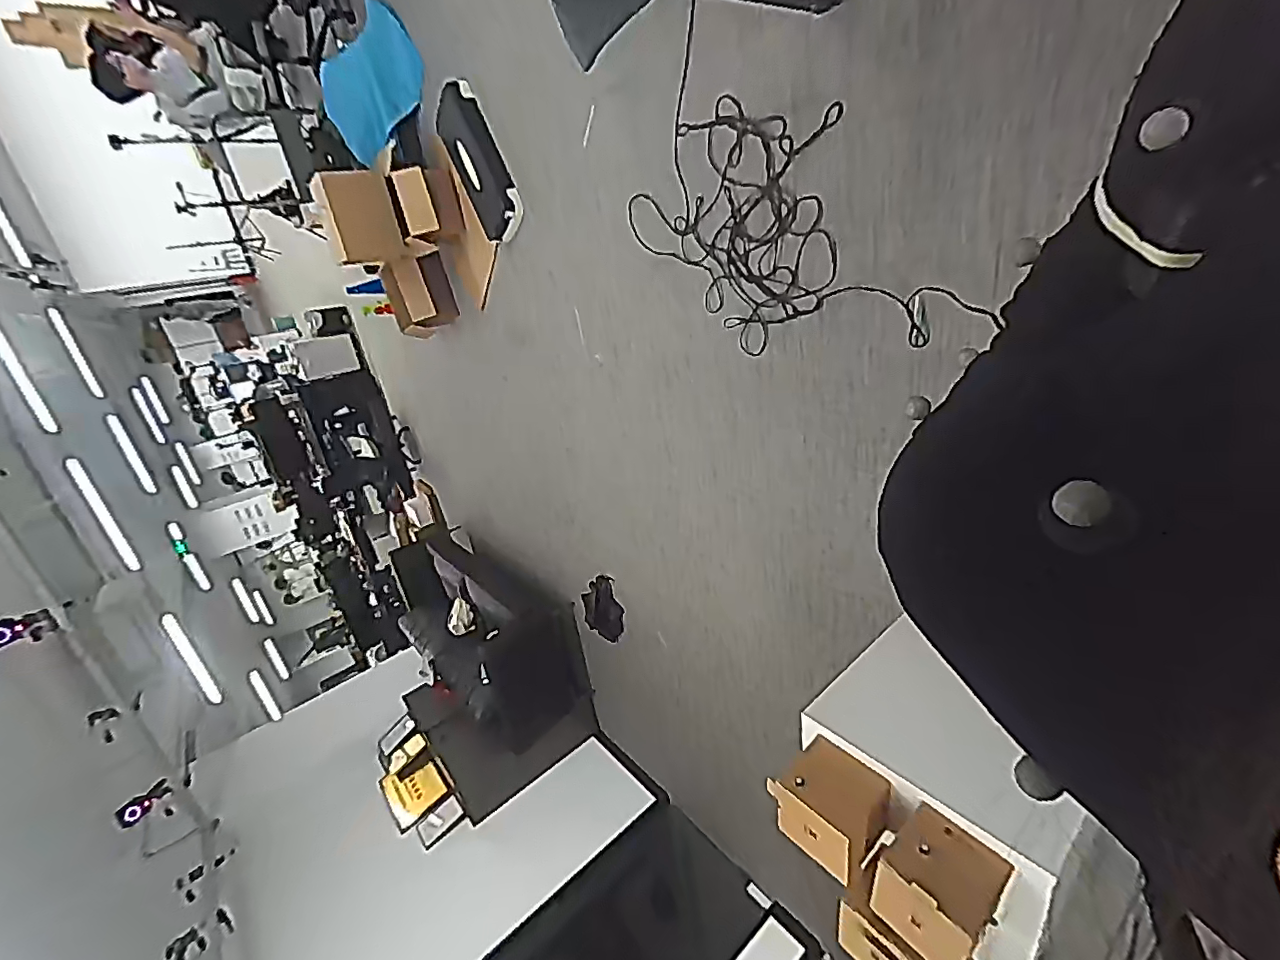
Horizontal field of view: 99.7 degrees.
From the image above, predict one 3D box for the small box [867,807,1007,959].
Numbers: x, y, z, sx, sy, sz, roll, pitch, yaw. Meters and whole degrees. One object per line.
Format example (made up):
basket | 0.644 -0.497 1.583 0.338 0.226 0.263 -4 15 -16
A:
small box | 0.553 0.767 1.011 0.168 0.176 0.179 27 132 46
